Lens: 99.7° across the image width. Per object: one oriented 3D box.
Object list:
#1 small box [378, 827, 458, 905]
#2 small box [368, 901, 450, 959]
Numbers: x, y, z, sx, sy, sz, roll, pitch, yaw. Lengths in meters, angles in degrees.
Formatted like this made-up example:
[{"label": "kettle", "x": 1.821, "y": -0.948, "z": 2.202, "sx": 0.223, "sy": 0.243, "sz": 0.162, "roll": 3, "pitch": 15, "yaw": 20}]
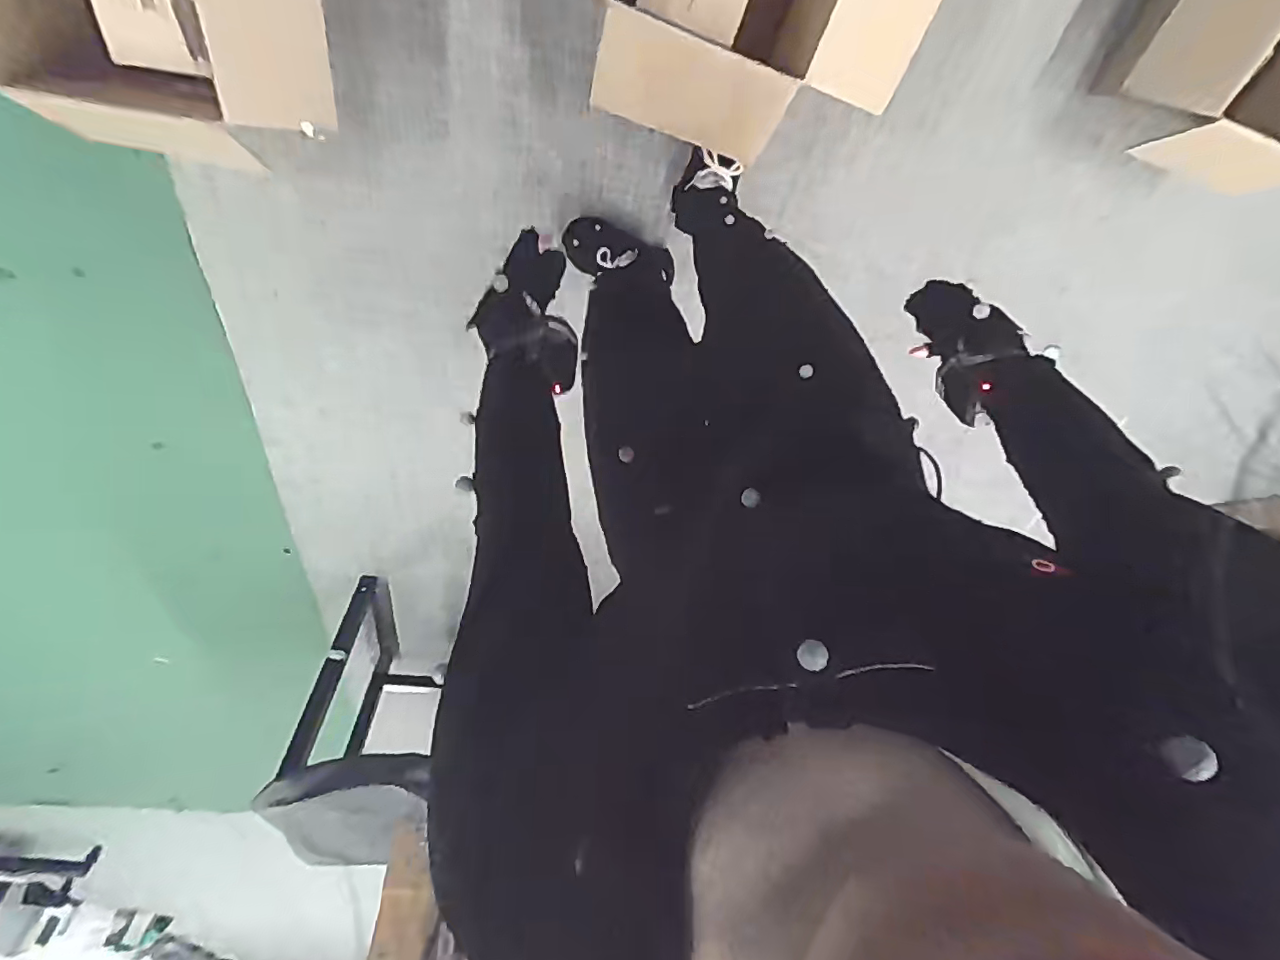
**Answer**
[{"label": "small box", "x": -0.622, "y": 1.112, "z": 1.537, "sx": 0.168, "sy": 0.176, "sz": 0.179, "roll": 4, "pitch": 130, "yaw": -8}, {"label": "small box", "x": -0.606, "y": 1.228, "z": 1.423, "sx": 0.179, "sy": 0.176, "sz": 0.168, "roll": 4, "pitch": 131, "yaw": -7}]
